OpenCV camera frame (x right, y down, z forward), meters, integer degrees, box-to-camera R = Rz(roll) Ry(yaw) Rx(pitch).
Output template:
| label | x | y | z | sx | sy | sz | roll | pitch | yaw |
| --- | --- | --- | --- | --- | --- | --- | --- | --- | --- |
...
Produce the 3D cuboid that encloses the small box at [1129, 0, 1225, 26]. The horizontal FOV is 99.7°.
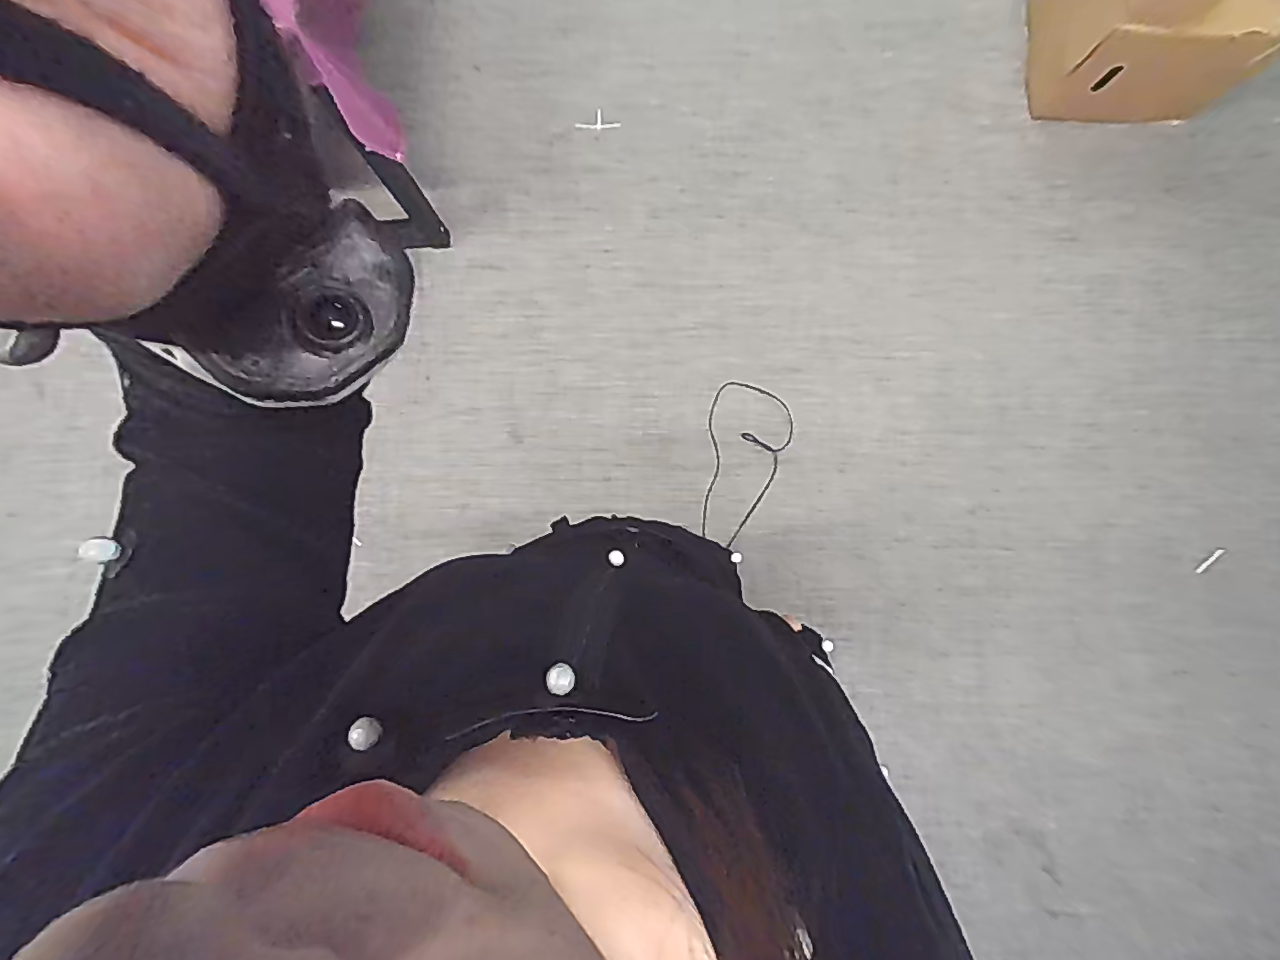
| label | x | y | z | sx | sy | sz | roll | pitch | yaw |
| --- | --- | --- | --- | --- | --- | --- | --- | --- | --- |
| small box | 1.260 | -1.176 | 1.218 | 0.179 | 0.176 | 0.168 | 8 | 87 | 0 |
